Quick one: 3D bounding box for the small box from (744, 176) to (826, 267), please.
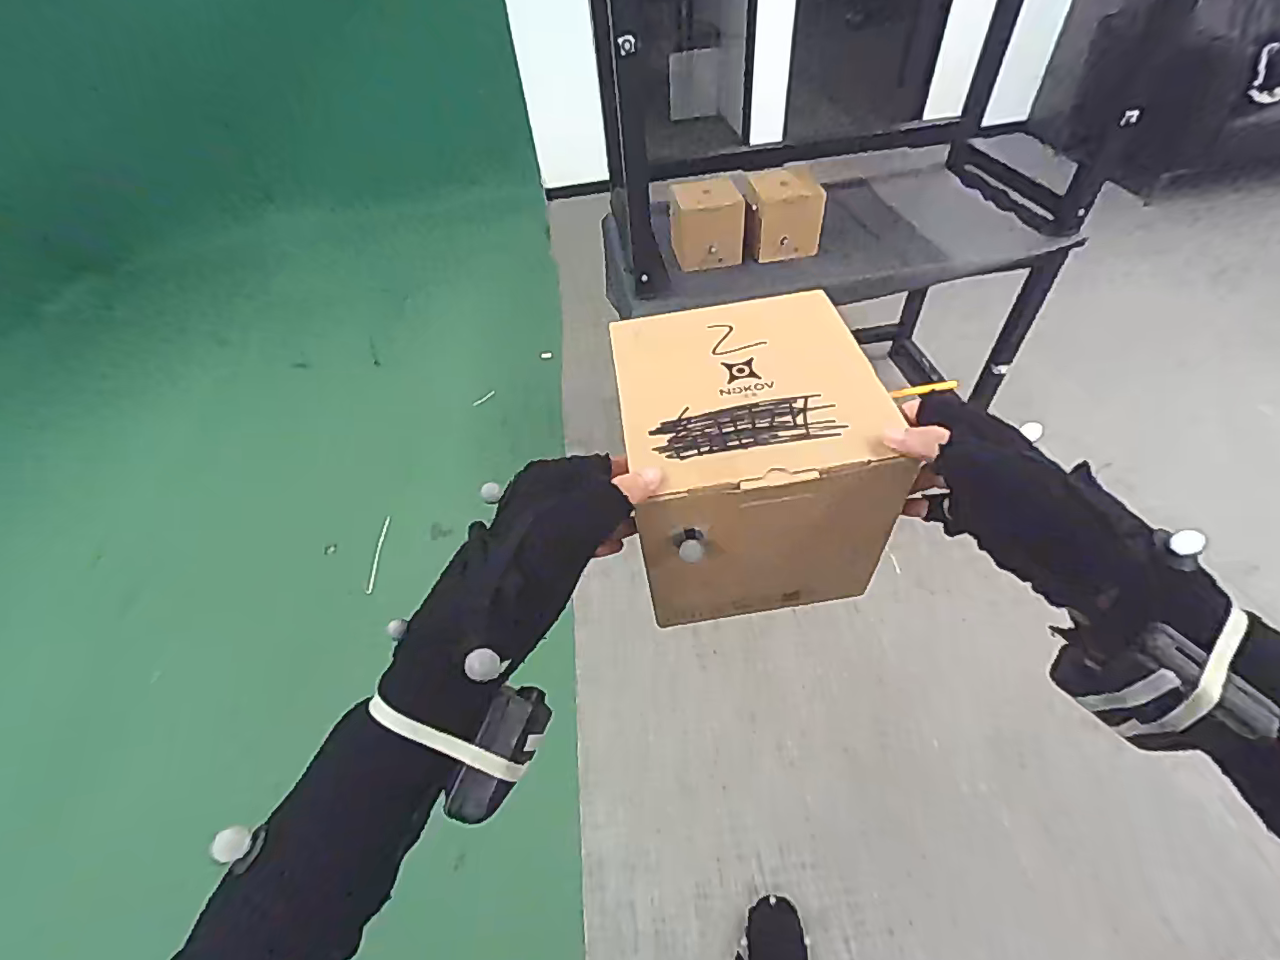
[{"bbox_3d":[0.390,-0.710,1.487,0.168,0.176,0.179,-9,48,-2],"label":"small box"}]

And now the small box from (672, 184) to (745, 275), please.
[{"bbox_3d":[0.183,-0.686,1.484,0.168,0.176,0.179,-9,48,-2],"label":"small box"}]
